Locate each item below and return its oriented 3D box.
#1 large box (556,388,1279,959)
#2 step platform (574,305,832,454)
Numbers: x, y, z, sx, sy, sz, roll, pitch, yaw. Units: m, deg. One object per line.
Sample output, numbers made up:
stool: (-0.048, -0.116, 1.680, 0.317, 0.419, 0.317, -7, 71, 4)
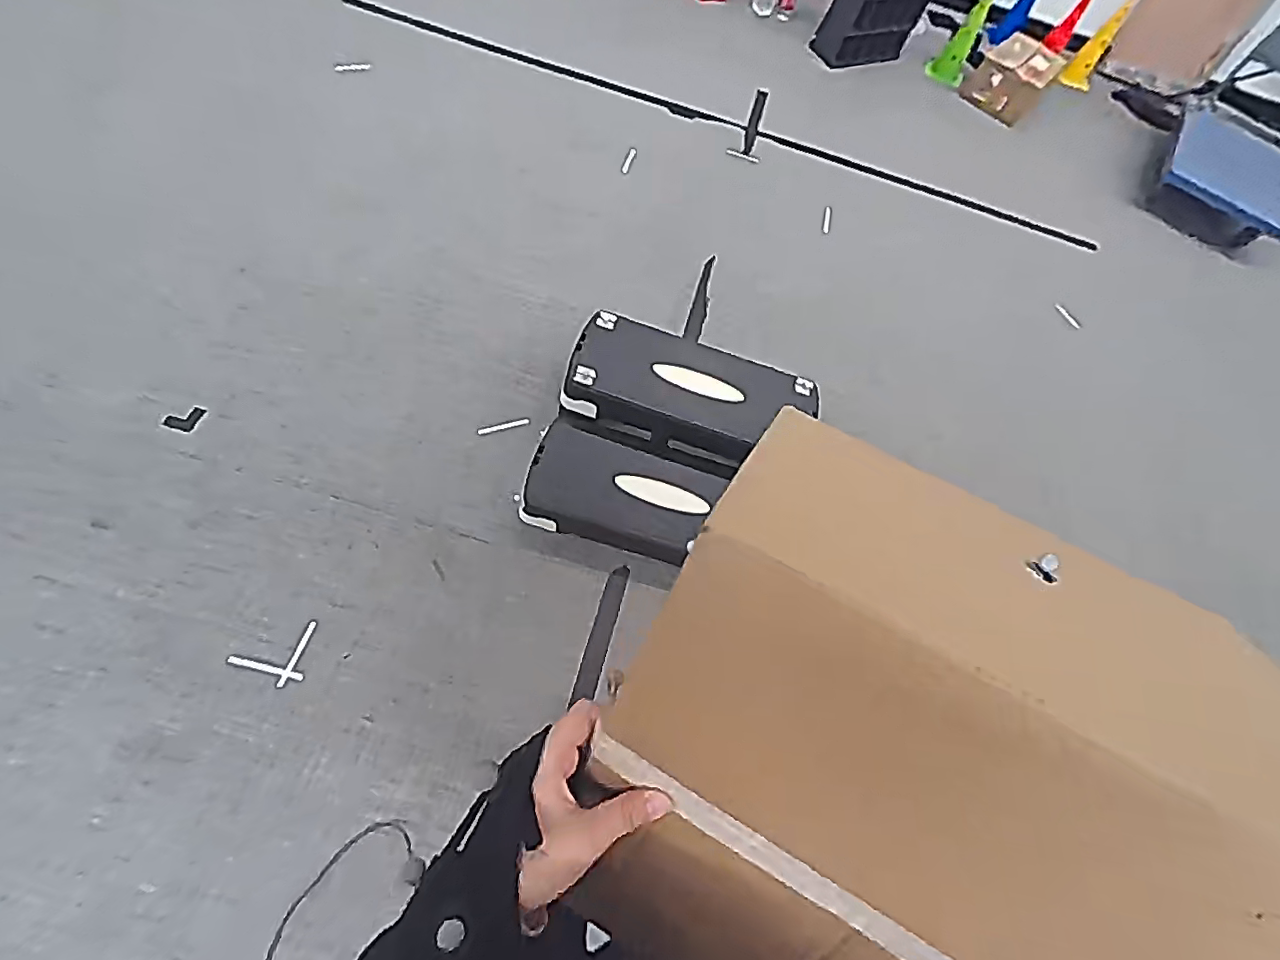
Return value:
large box: (0.214, 0.165, 0.404, 0.408, 0.320, 0.320, 27, 26, 10)
step platform: (0.170, -0.215, 1.475, 0.684, 0.204, 0.286, 23, 62, 0)
